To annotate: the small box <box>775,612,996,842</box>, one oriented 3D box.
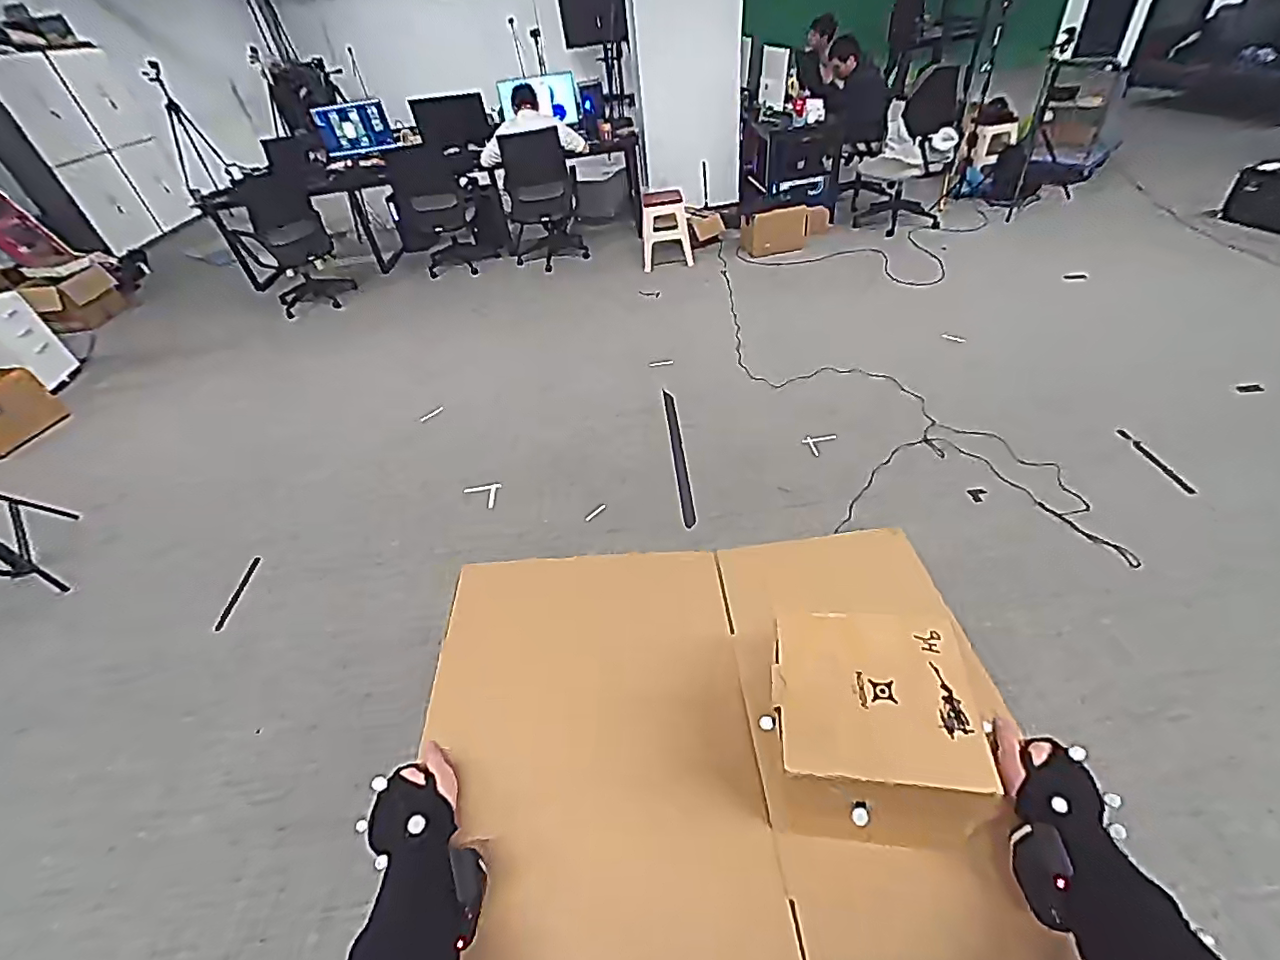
[{"bbox_3d":[0.236,0.258,0.571,0.179,0.176,0.168,-1,43,13],"label":"small box"}]
